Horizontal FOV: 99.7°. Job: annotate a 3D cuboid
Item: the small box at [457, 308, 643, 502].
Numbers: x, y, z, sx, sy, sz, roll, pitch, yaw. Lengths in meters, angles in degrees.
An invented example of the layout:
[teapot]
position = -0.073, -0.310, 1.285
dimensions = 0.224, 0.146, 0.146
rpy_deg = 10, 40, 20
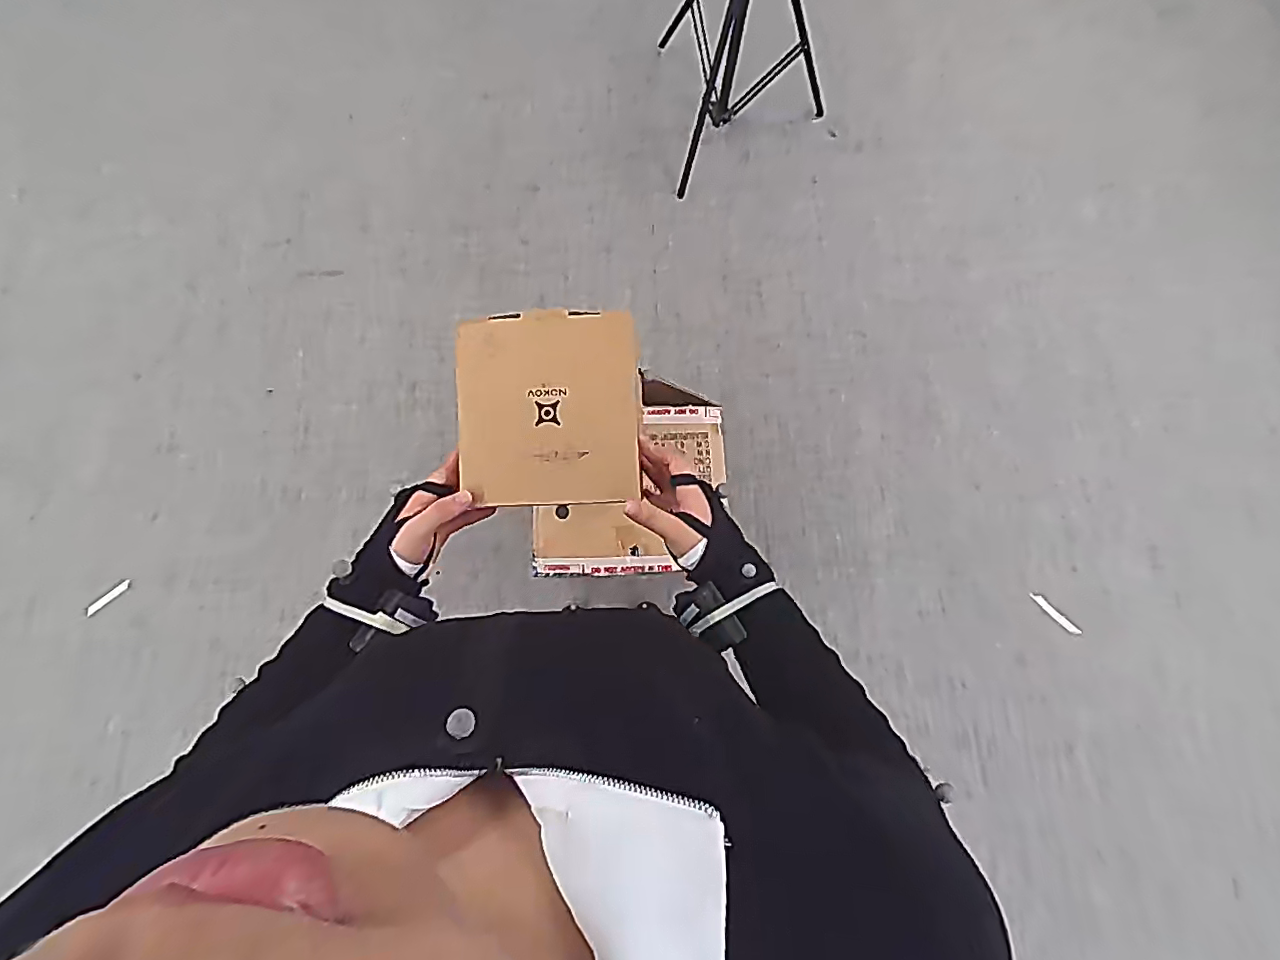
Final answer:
[small box]
position = -0.082, -0.066, 0.567
dimensions = 0.168, 0.176, 0.179
rpy_deg = -1, 89, 2
